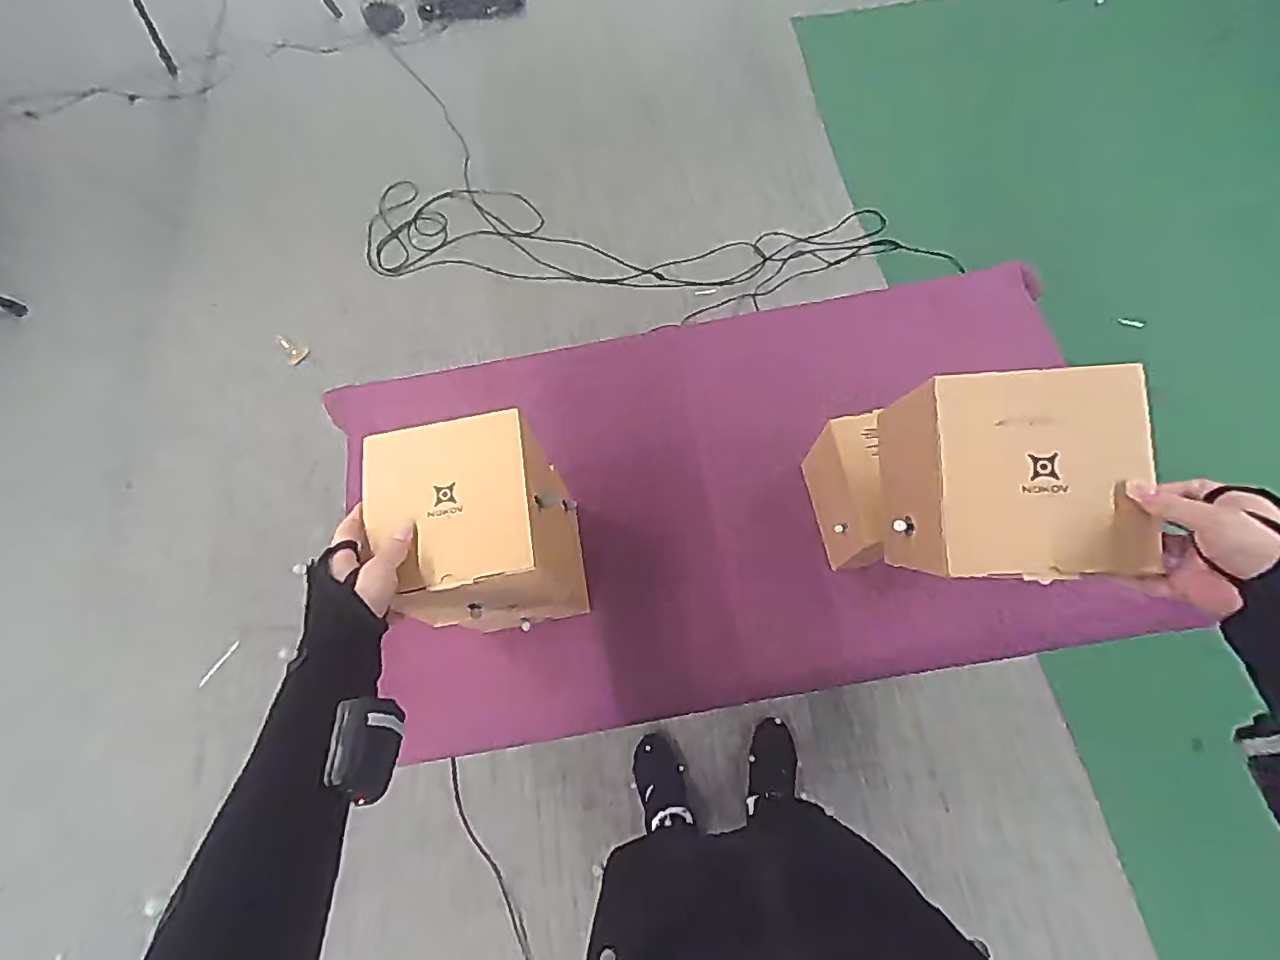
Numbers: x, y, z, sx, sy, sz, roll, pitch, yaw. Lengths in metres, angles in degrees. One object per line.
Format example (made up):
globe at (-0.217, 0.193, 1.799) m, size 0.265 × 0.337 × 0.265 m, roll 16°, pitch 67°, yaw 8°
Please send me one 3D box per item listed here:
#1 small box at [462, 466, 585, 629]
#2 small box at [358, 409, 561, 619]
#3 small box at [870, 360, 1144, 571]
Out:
small box at (-0.178, 0.102, 0.765) m, size 0.168 × 0.176 × 0.179 m, roll -11°, pitch 69°, yaw 1°
small box at (-0.192, 0.047, 0.611) m, size 0.168 × 0.176 × 0.179 m, roll -11°, pitch 68°, yaw -1°
small box at (0.337, -0.006, 0.533) m, size 0.168 × 0.176 × 0.179 m, roll -2°, pitch 85°, yaw 8°
